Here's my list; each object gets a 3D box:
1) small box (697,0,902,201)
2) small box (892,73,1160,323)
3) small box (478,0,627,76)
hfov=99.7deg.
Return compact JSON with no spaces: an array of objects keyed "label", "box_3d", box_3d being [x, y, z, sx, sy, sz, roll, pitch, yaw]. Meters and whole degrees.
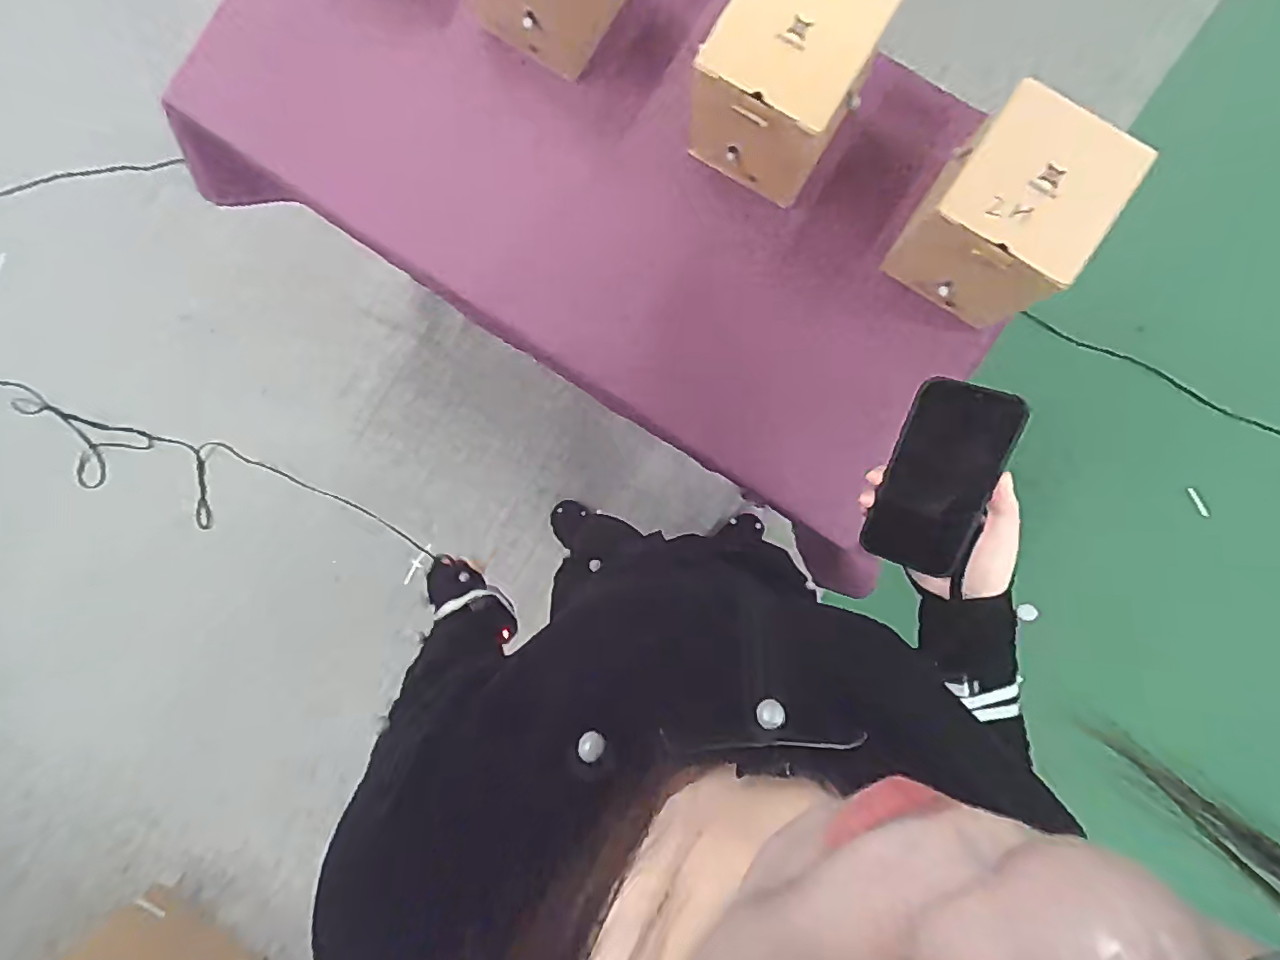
[{"label":"small box","box_3d":[0.181,-0.500,0.680,0.168,0.176,0.179,31,93,2]},{"label":"small box","box_3d":[0.446,-0.326,0.662,0.168,0.176,0.179,34,93,3]},{"label":"small box","box_3d":[-0.118,-0.682,0.694,0.168,0.176,0.179,34,92,1]}]
